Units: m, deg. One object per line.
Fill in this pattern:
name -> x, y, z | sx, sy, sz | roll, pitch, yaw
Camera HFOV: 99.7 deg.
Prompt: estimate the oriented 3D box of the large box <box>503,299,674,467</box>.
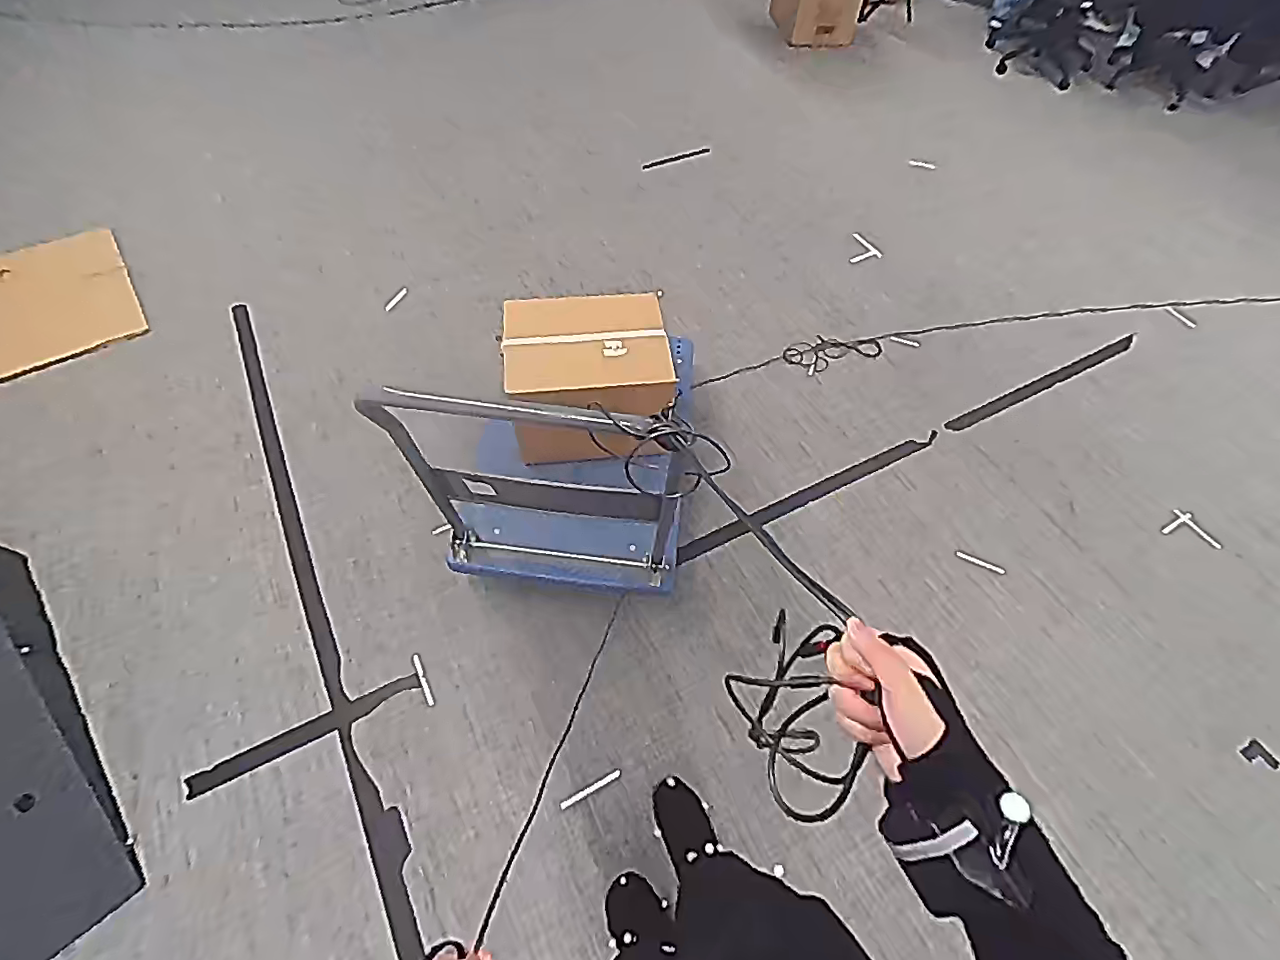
large box -> -0.145, -0.257, 1.463 | 0.408, 0.320, 0.320 | -5, 60, -7
